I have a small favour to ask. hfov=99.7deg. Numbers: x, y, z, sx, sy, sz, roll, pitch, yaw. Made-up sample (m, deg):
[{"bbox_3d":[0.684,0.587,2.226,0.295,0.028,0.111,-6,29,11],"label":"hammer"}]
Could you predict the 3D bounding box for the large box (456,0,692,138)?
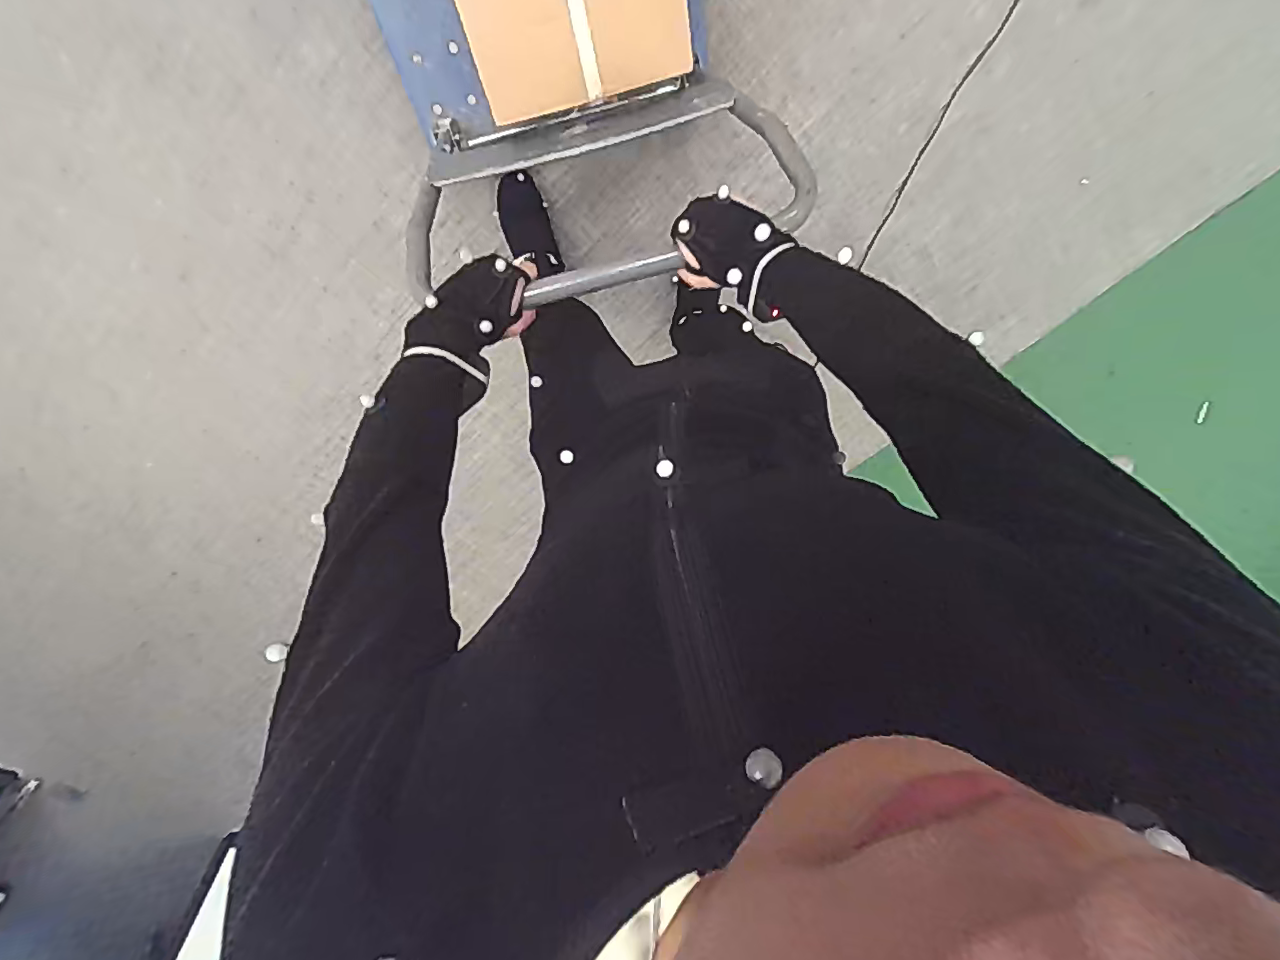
[{"bbox_3d":[-0.129,-0.814,0.826,0.320,0.320,0.408,-15,132,2],"label":"large box"}]
